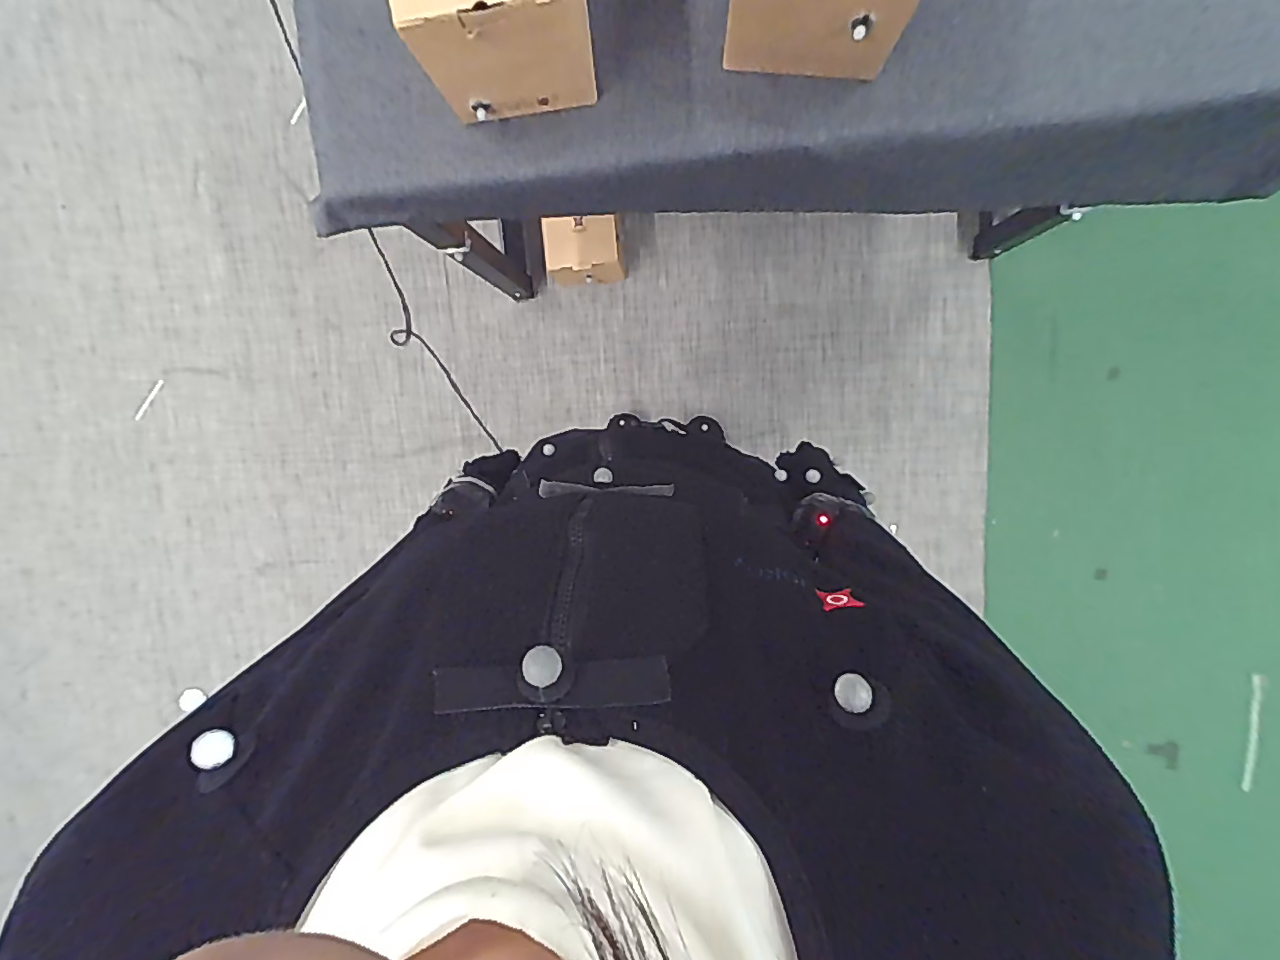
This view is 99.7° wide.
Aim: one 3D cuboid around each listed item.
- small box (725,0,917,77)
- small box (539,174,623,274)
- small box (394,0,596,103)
[{"bbox_3d":[0.186,-0.537,0.533,0.179,0.176,0.168,7,97,4],"label":"small box"},{"bbox_3d":[-0.132,-0.595,1.283,0.168,0.176,0.179,-3,98,4],"label":"small box"},{"bbox_3d":[-0.143,-0.521,0.554,0.168,0.176,0.179,-5,96,4],"label":"small box"}]
